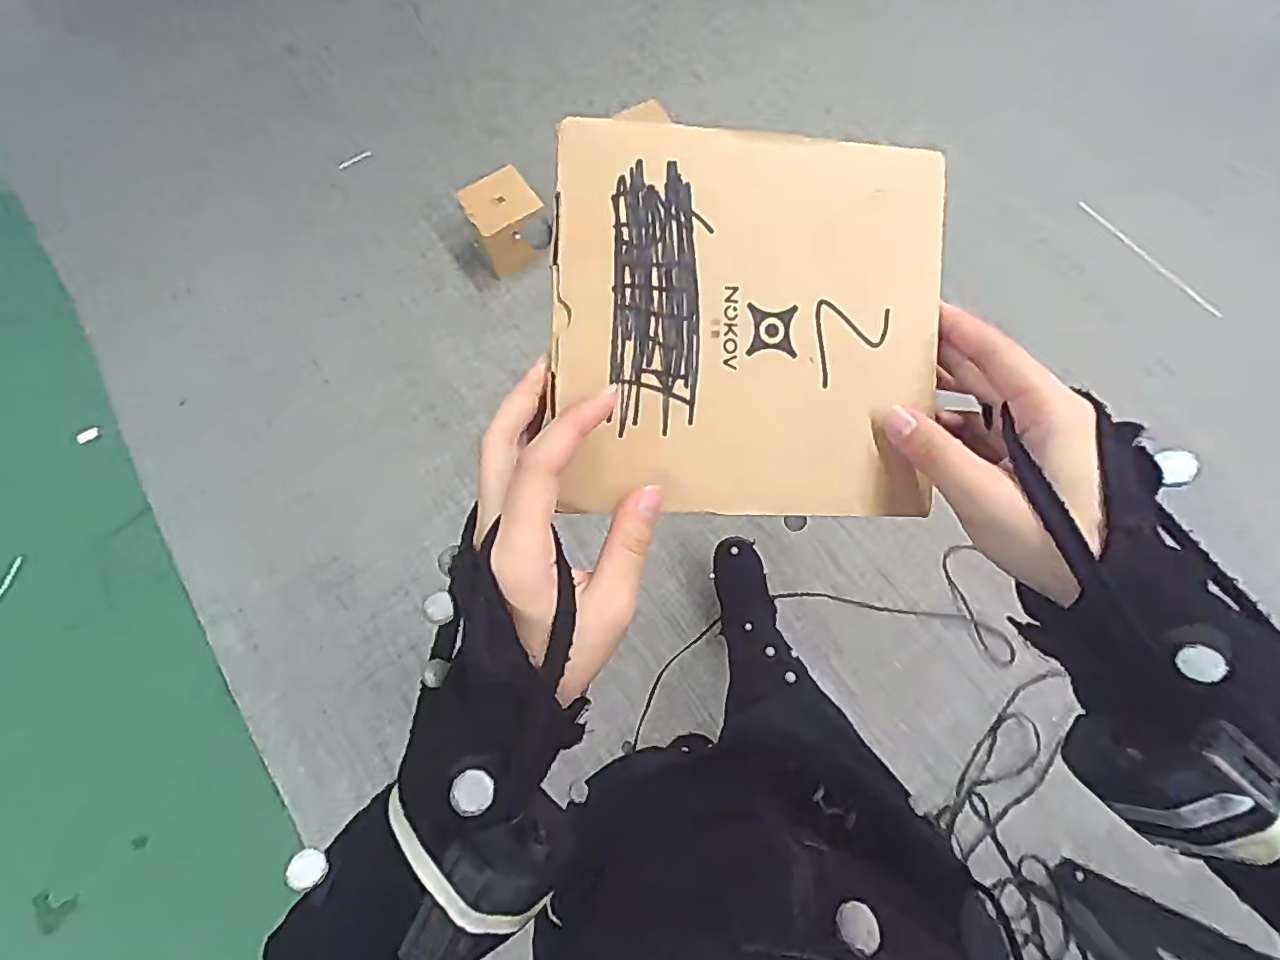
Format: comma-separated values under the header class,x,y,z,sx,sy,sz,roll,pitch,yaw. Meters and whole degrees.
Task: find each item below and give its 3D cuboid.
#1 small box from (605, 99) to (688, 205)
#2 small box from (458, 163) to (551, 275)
class,x,y,z,sx,sy,sz,roll,pitch,yaw
small box,0.017,-0.905,1.513,0.168,0.176,0.179,-29,74,-10
small box,-0.352,-0.693,1.448,0.179,0.176,0.168,-33,76,-9
